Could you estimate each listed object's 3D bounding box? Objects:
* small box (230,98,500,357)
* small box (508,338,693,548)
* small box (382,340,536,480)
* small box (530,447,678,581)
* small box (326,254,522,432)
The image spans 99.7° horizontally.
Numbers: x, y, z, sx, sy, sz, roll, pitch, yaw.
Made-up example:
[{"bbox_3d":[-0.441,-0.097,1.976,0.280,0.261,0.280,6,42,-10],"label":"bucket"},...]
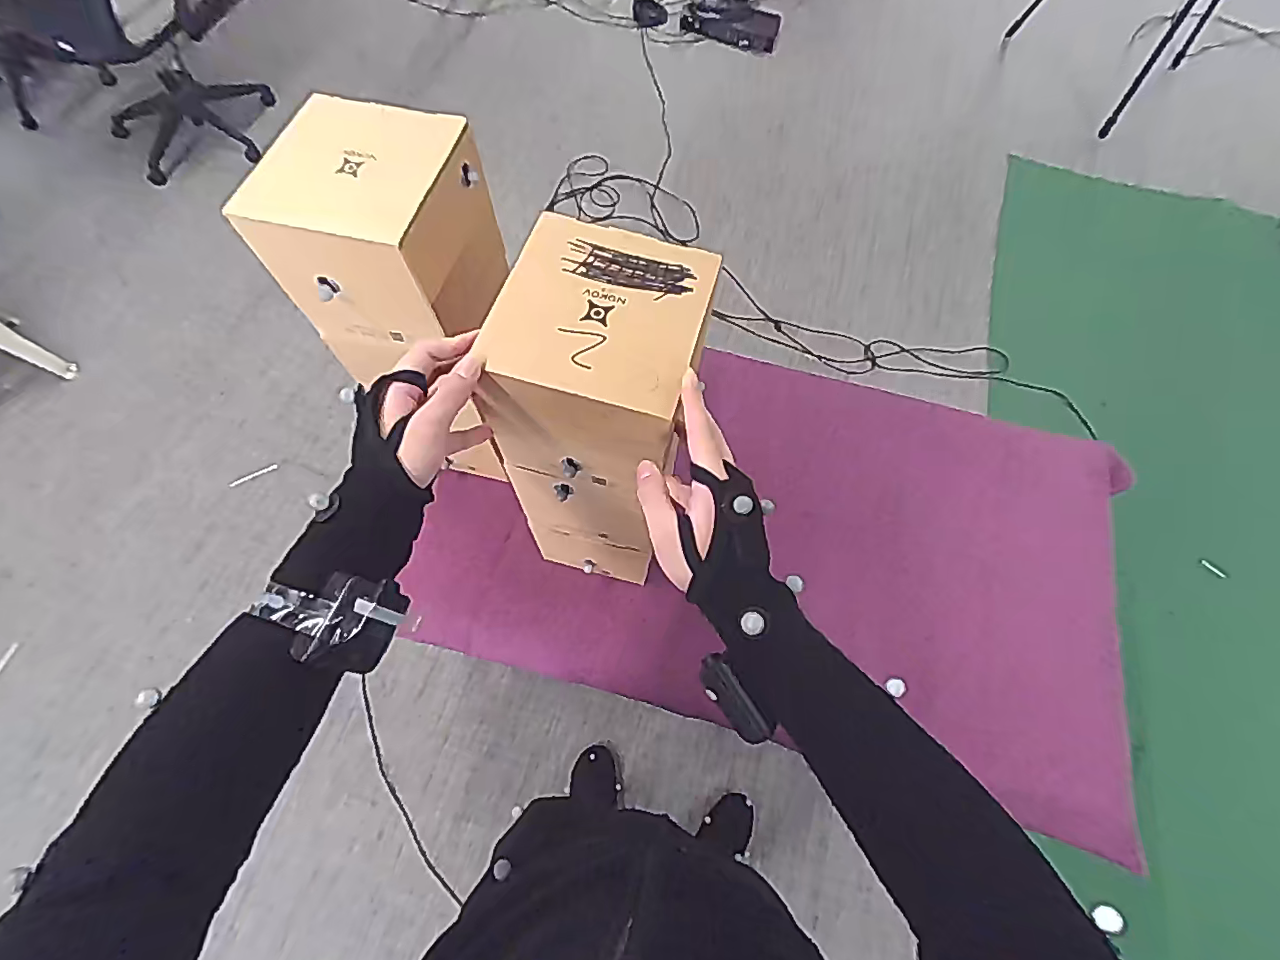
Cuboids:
[{"bbox_3d":[-0.264,-0.257,0.573,0.168,0.176,0.179,12,66,5],"label":"small box"},{"bbox_3d":[-0.042,-0.038,0.659,0.168,0.176,0.179,13,65,5],"label":"small box"},{"bbox_3d":[-0.273,-0.124,0.870,0.168,0.176,0.179,13,67,4],"label":"small box"},{"bbox_3d":[-0.048,0.032,0.807,0.168,0.176,0.179,14,67,5],"label":"small box"},{"bbox_3d":[-0.267,-0.191,0.721,0.168,0.176,0.179,13,67,5],"label":"small box"}]
